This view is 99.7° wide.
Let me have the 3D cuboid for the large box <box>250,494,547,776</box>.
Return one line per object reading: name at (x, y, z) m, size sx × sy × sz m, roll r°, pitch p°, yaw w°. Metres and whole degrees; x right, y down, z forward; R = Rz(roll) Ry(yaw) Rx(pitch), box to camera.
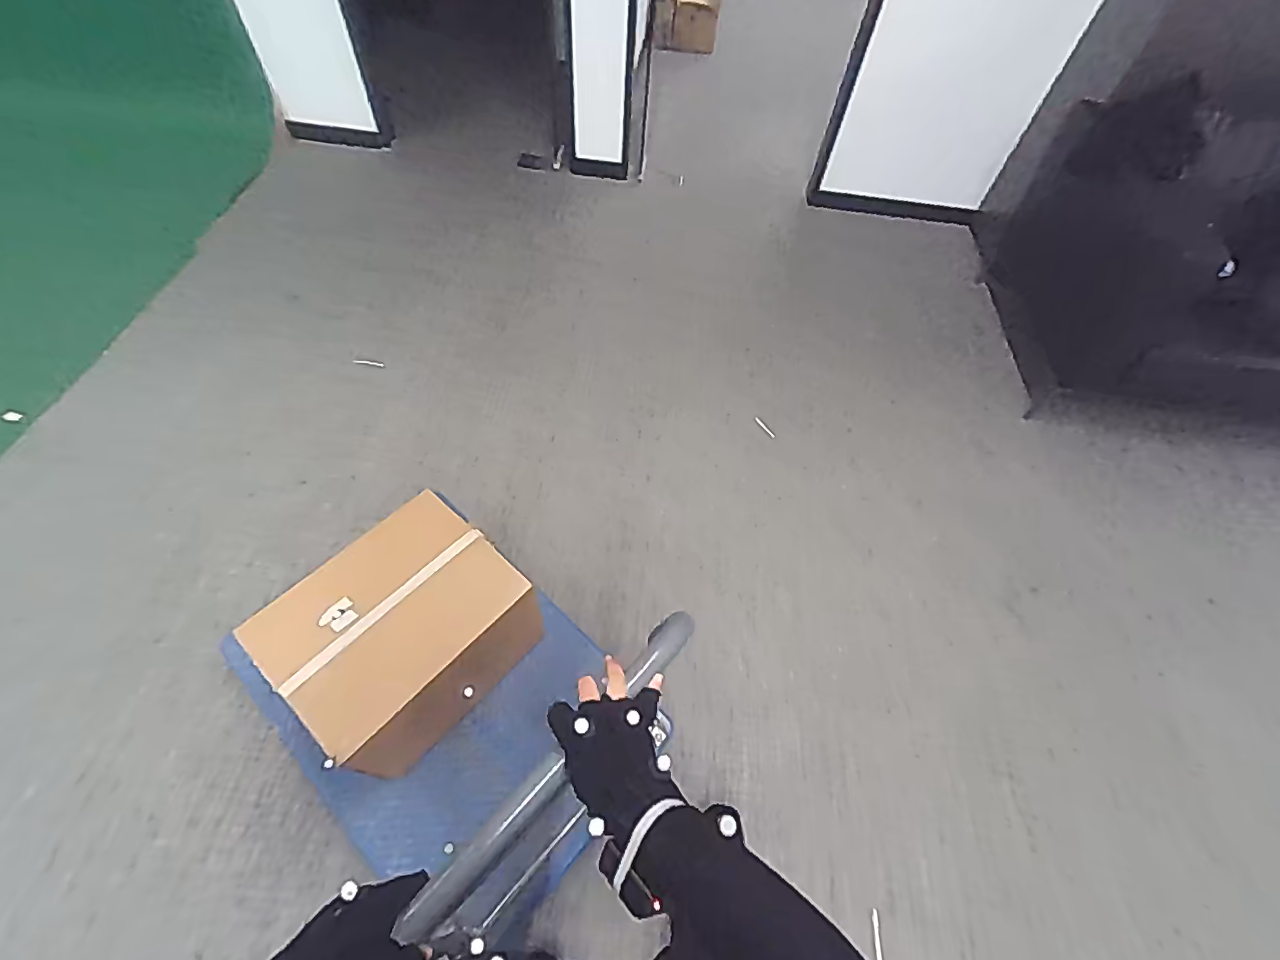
large box at (-0.442, 0.313, 1.097) m, size 0.320 × 0.320 × 0.408 m, roll 37°, pitch 62°, yaw 18°
